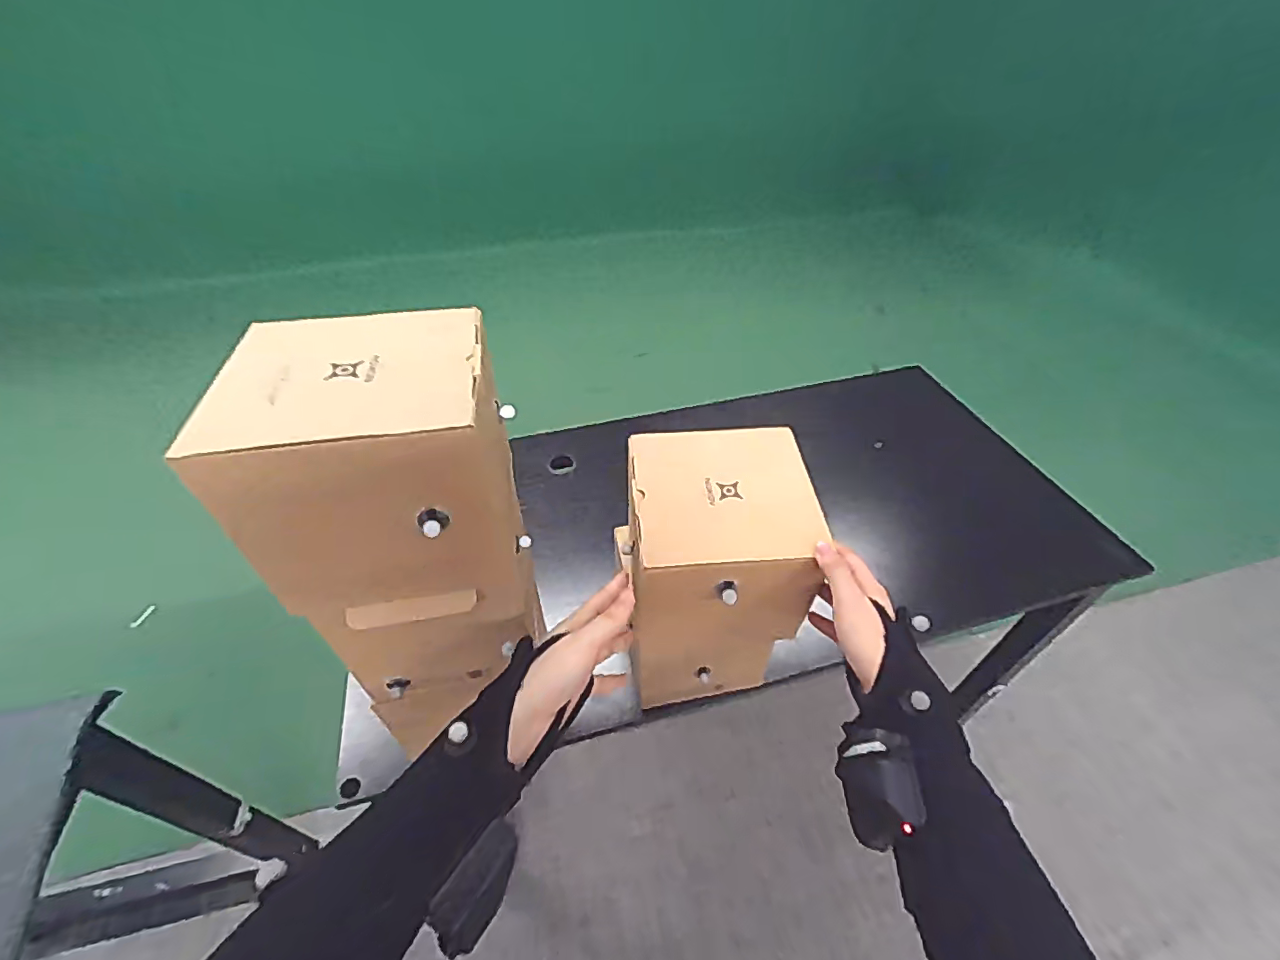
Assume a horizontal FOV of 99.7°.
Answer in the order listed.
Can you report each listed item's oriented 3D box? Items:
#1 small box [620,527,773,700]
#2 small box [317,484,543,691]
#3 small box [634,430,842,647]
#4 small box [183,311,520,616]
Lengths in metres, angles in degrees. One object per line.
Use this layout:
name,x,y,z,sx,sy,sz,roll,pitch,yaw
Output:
small box,0.070,0.169,0.709,0.168,0.176,0.179,-8,45,-8
small box,-0.195,0.096,0.554,0.168,0.176,0.179,-8,44,-9
small box,0.086,0.065,0.579,0.179,0.176,0.168,-3,49,-3
small box,-0.194,-0.014,0.434,0.179,0.176,0.168,-8,44,-8
